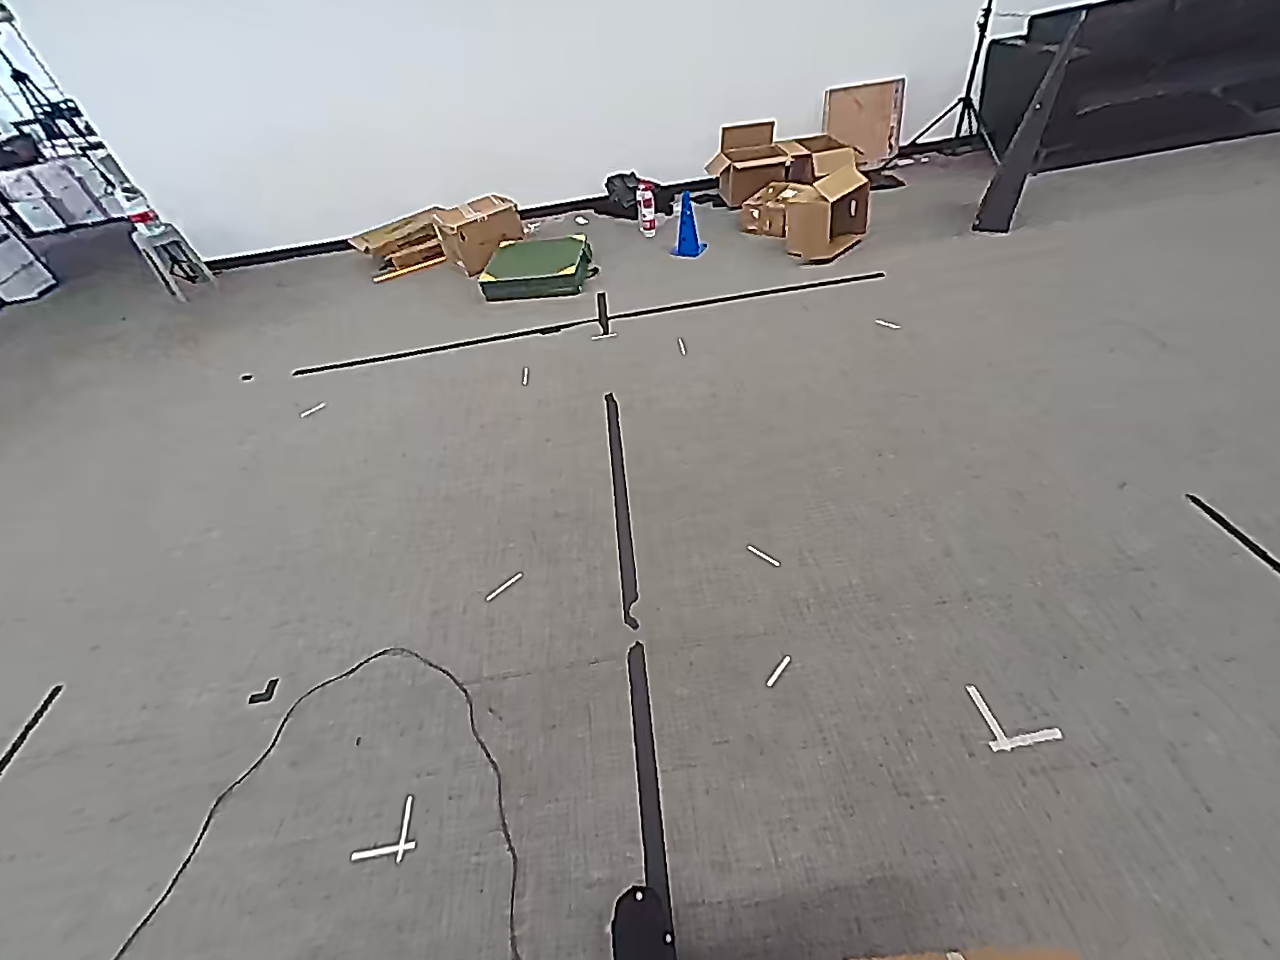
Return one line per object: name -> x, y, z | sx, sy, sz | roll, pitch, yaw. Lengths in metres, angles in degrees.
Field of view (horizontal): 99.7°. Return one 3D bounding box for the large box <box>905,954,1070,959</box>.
large box -> 0.421, 0.774, 0.521 | 0.320, 0.408, 0.320 | -9, 81, 5
